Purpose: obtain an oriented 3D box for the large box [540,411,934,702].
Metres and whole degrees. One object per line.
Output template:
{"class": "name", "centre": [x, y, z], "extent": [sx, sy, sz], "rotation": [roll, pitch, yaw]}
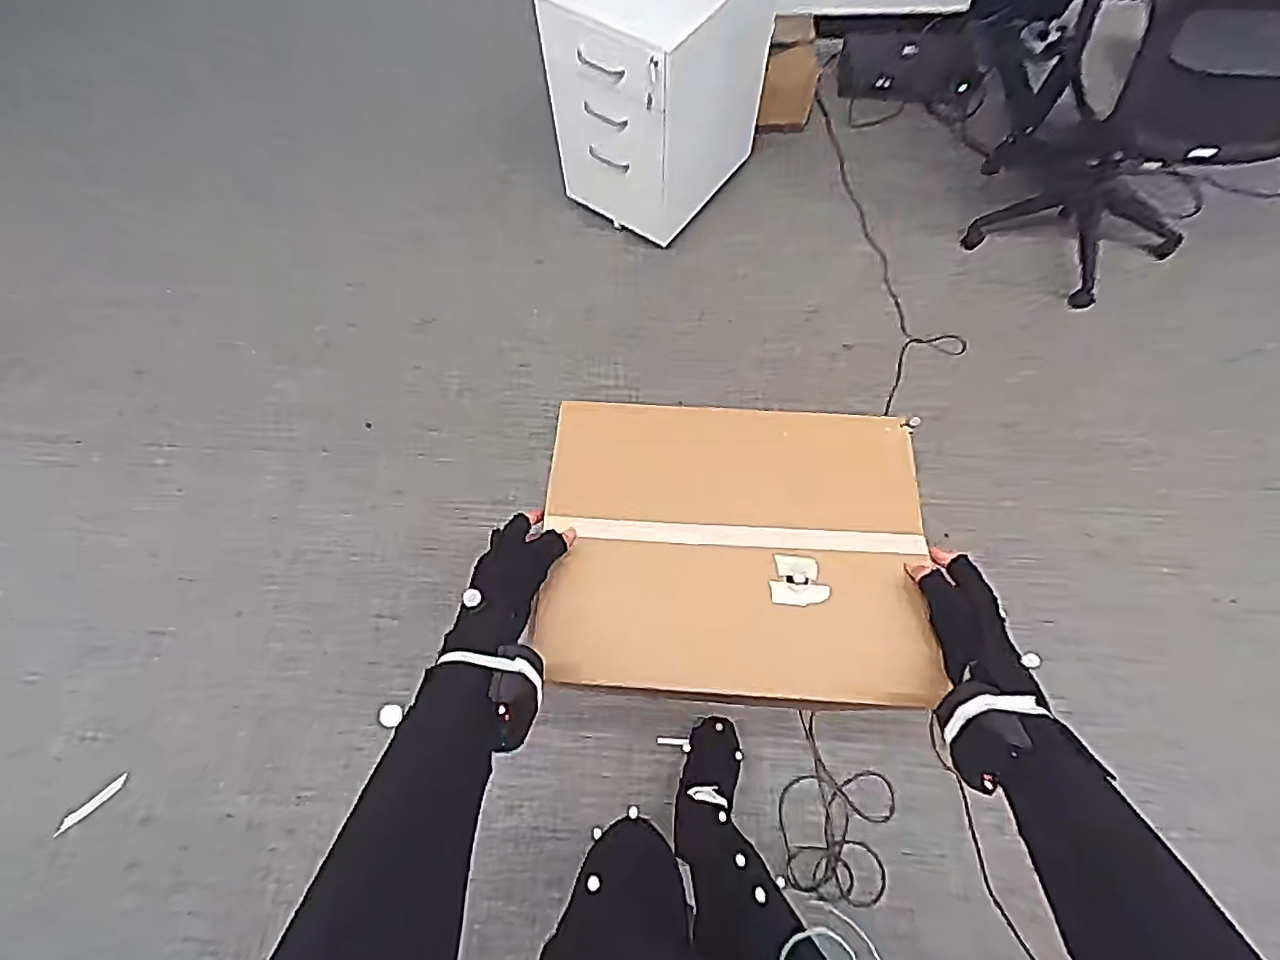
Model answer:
{"class": "large box", "centre": [0.103, 0.122, 0.734], "extent": [0.408, 0.320, 0.320], "rotation": [3, 67, 2]}
